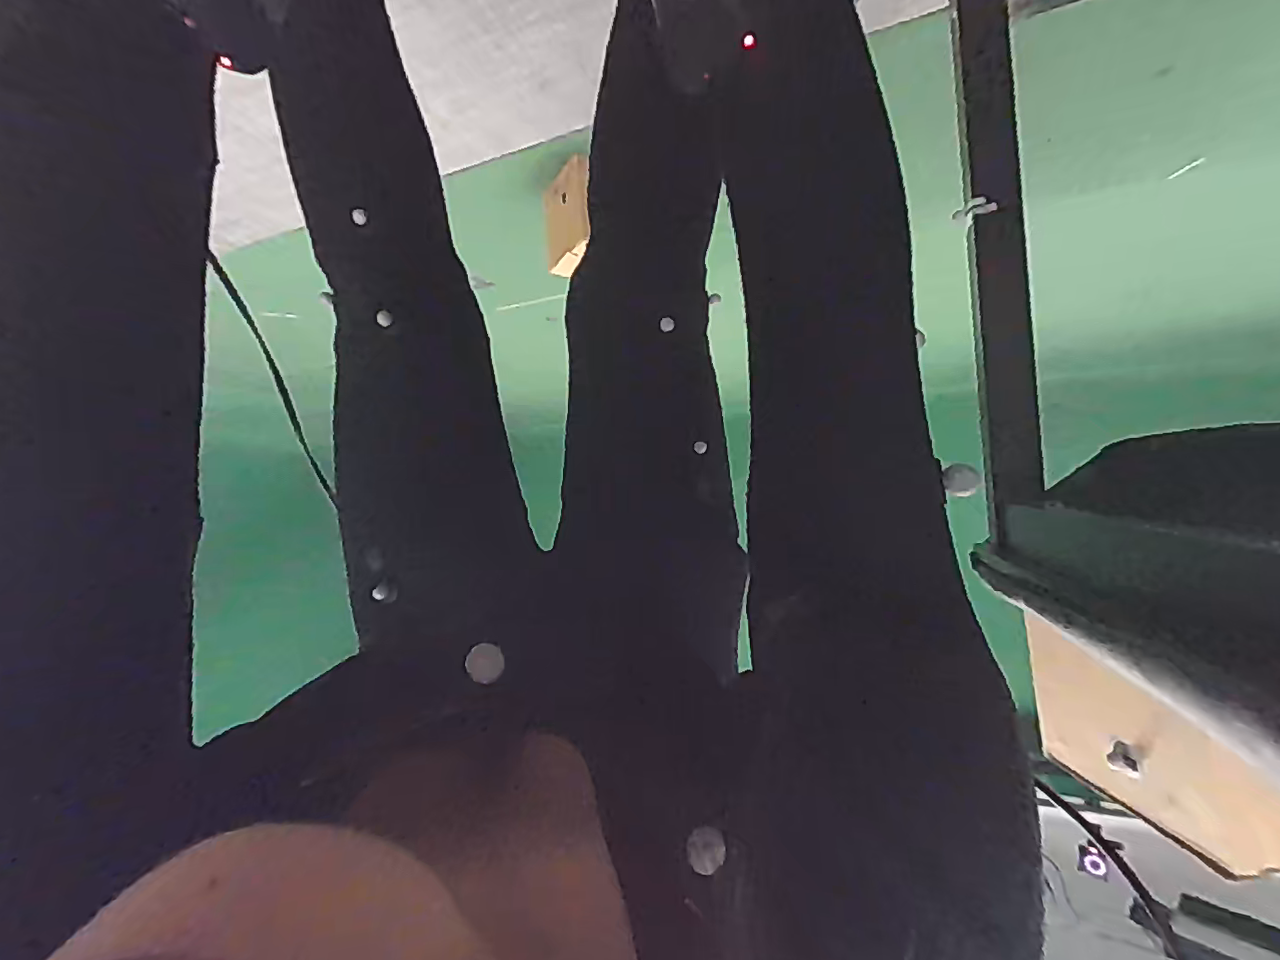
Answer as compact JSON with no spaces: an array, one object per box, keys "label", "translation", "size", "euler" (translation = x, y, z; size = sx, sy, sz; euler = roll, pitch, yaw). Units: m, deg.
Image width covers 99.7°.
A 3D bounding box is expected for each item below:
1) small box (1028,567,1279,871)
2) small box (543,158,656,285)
[{"label":"small box","translation":[0.458,0.172,0.444],"size":[0.168,0.176,0.179],"euler":[-6,178,1]},{"label":"small box","translation":[-0.085,-0.519,1.101],"size":[0.179,0.176,0.168],"euler":[-2,178,-32]}]
